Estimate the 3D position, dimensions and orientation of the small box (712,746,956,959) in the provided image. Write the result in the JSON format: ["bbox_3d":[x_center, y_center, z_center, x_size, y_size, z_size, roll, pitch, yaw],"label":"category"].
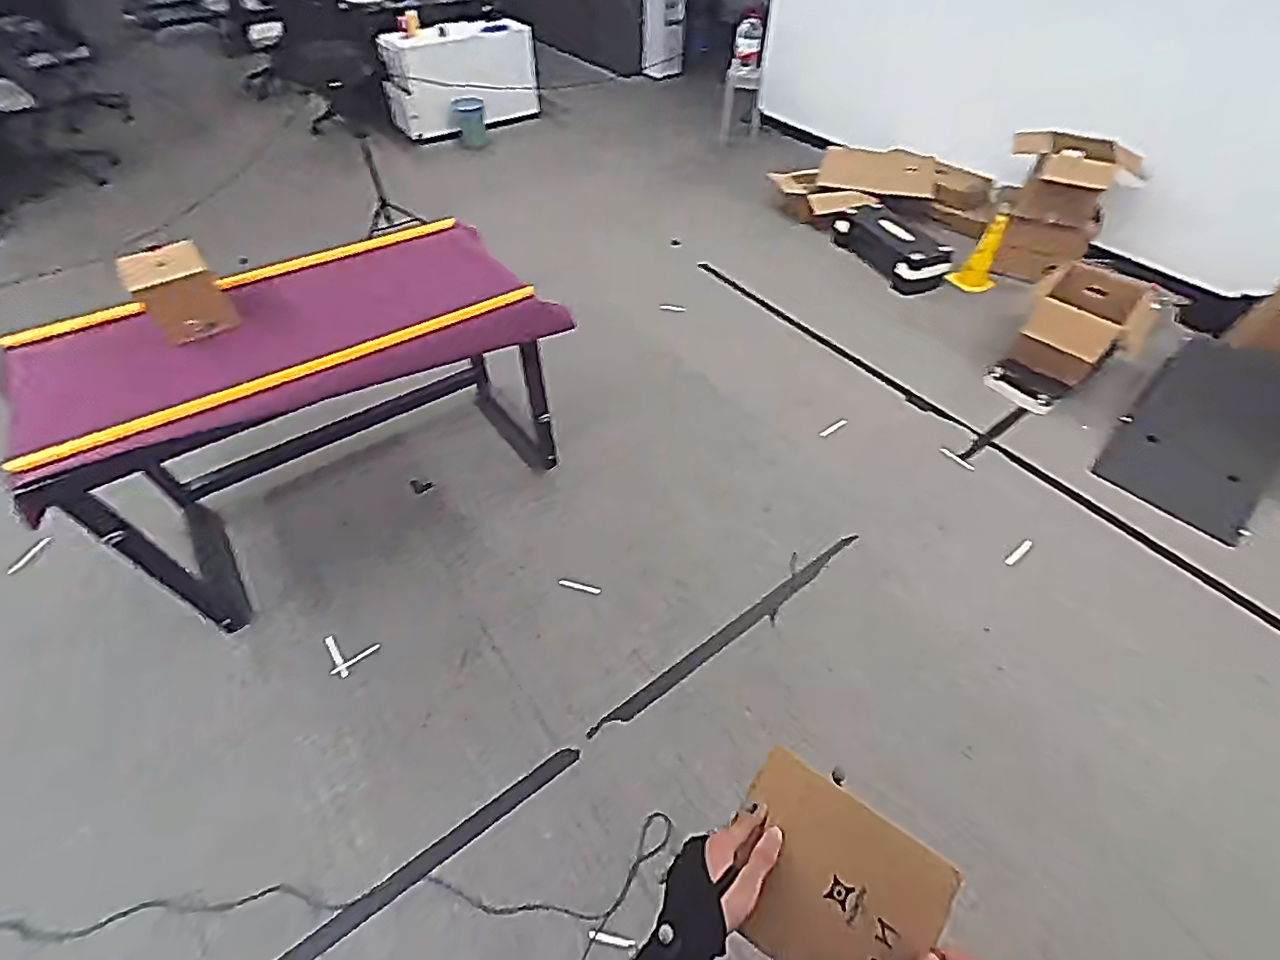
[{"bbox_3d":[0.194,0.420,0.597,0.179,0.176,0.168,31,76,11],"label":"small box"}]

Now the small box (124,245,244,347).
[{"bbox_3d":[-1.181,-0.477,1.409,0.168,0.176,0.179,-32,59,-23],"label":"small box"}]
